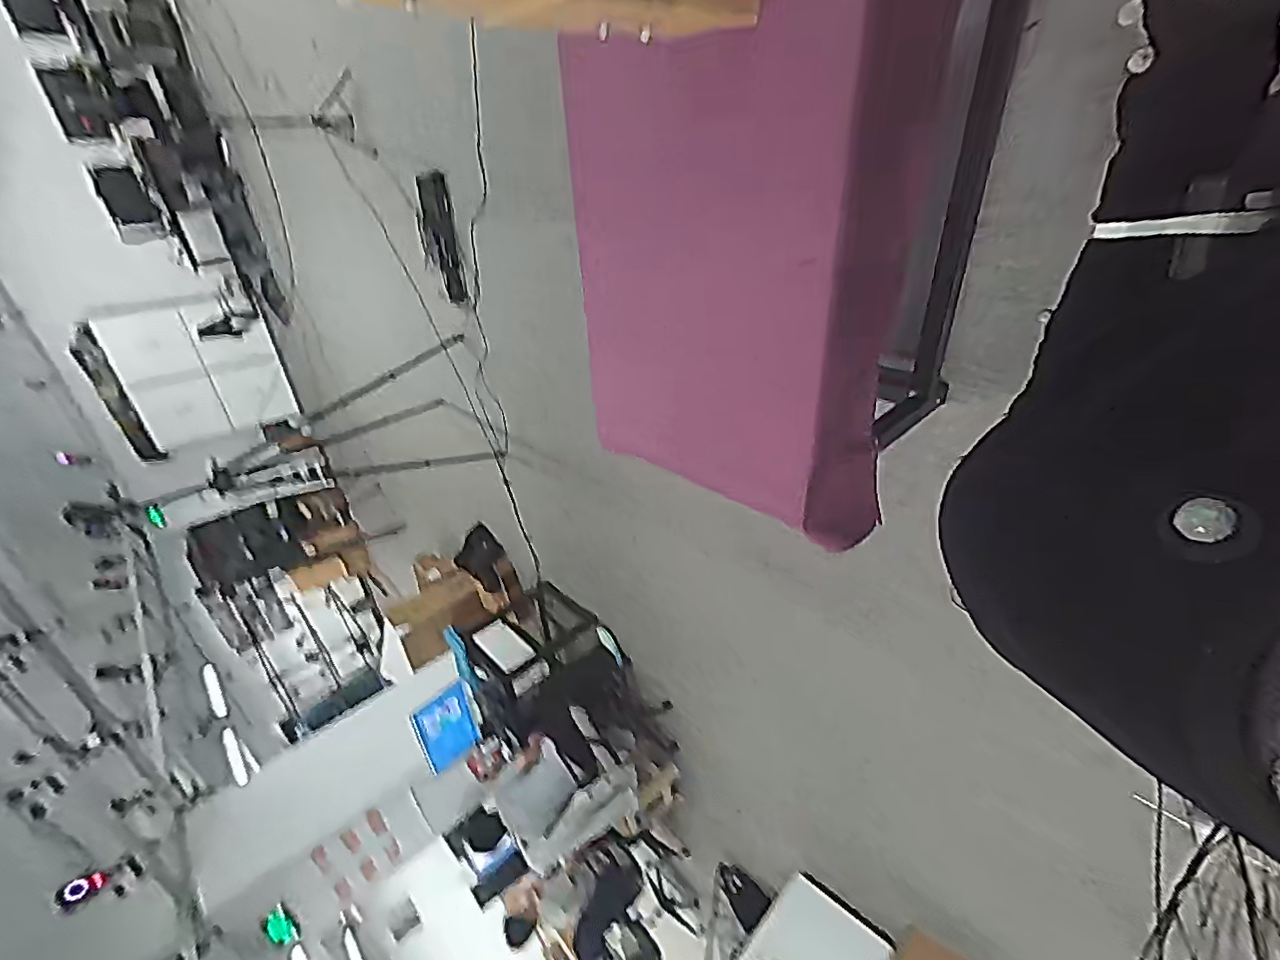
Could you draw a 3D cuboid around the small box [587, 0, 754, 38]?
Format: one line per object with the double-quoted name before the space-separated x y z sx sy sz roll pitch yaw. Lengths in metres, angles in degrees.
"small box" 0.044 -0.692 0.699 0.179 0.176 0.168 28 132 39
